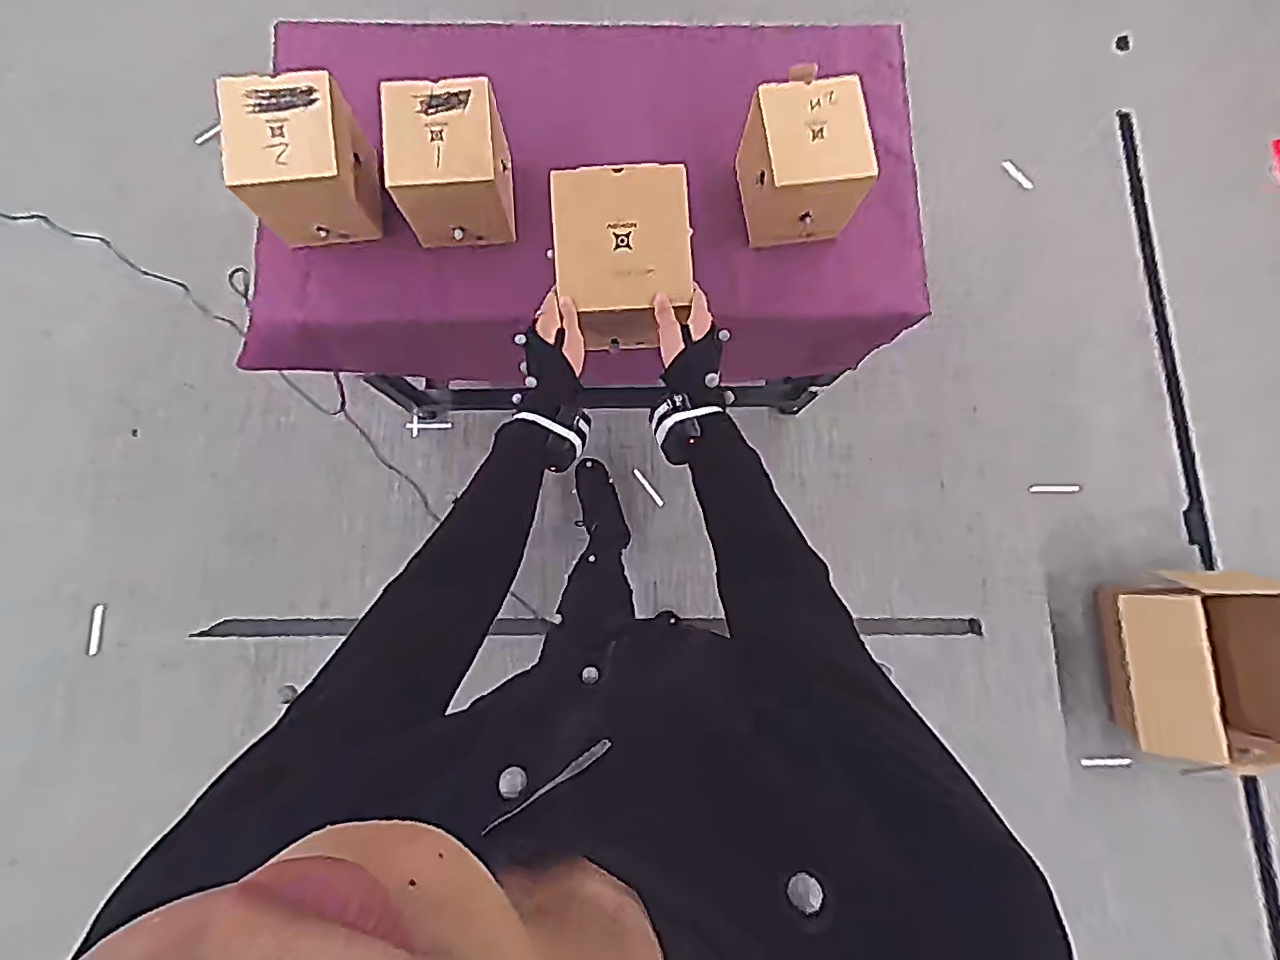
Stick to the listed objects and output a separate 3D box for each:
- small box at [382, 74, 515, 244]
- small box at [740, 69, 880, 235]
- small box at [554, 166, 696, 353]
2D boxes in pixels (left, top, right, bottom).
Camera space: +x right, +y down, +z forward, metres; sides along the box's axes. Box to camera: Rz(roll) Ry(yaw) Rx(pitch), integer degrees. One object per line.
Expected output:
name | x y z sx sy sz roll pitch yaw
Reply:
small box | -0.307 -0.521 0.893 0.168 0.176 0.179 -5 83 -2
small box | 0.274 -0.535 0.907 0.168 0.176 0.179 -8 82 -2
small box | -0.021 -0.280 0.715 0.168 0.176 0.179 -3 88 -1
